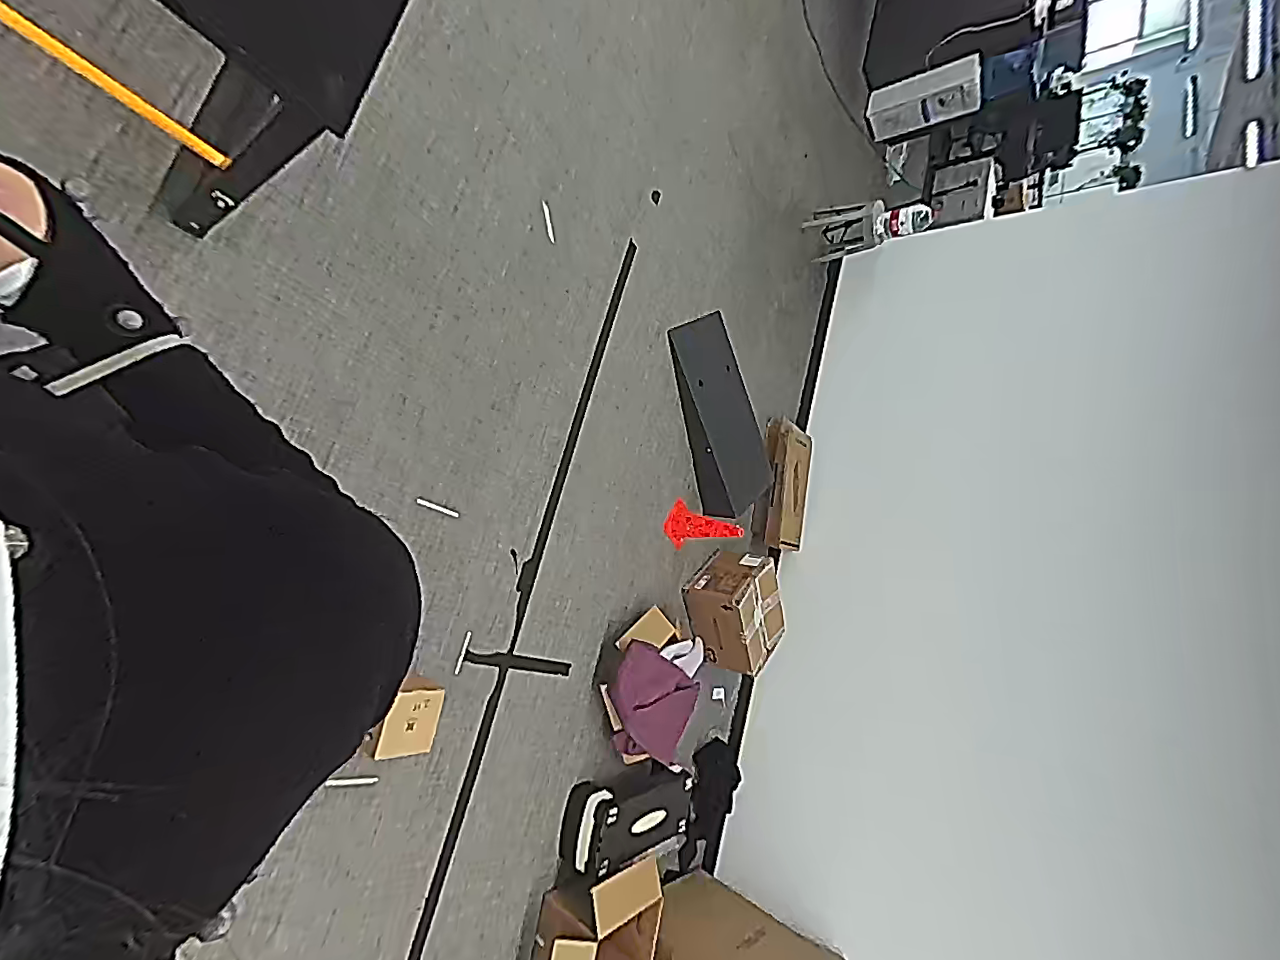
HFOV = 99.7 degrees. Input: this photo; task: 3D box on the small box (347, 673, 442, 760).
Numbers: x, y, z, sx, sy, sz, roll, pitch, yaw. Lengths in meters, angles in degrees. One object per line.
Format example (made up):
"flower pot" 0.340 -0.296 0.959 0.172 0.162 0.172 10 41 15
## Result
"small box" -0.694 0.656 1.520 0.168 0.176 0.179 22 77 -50
